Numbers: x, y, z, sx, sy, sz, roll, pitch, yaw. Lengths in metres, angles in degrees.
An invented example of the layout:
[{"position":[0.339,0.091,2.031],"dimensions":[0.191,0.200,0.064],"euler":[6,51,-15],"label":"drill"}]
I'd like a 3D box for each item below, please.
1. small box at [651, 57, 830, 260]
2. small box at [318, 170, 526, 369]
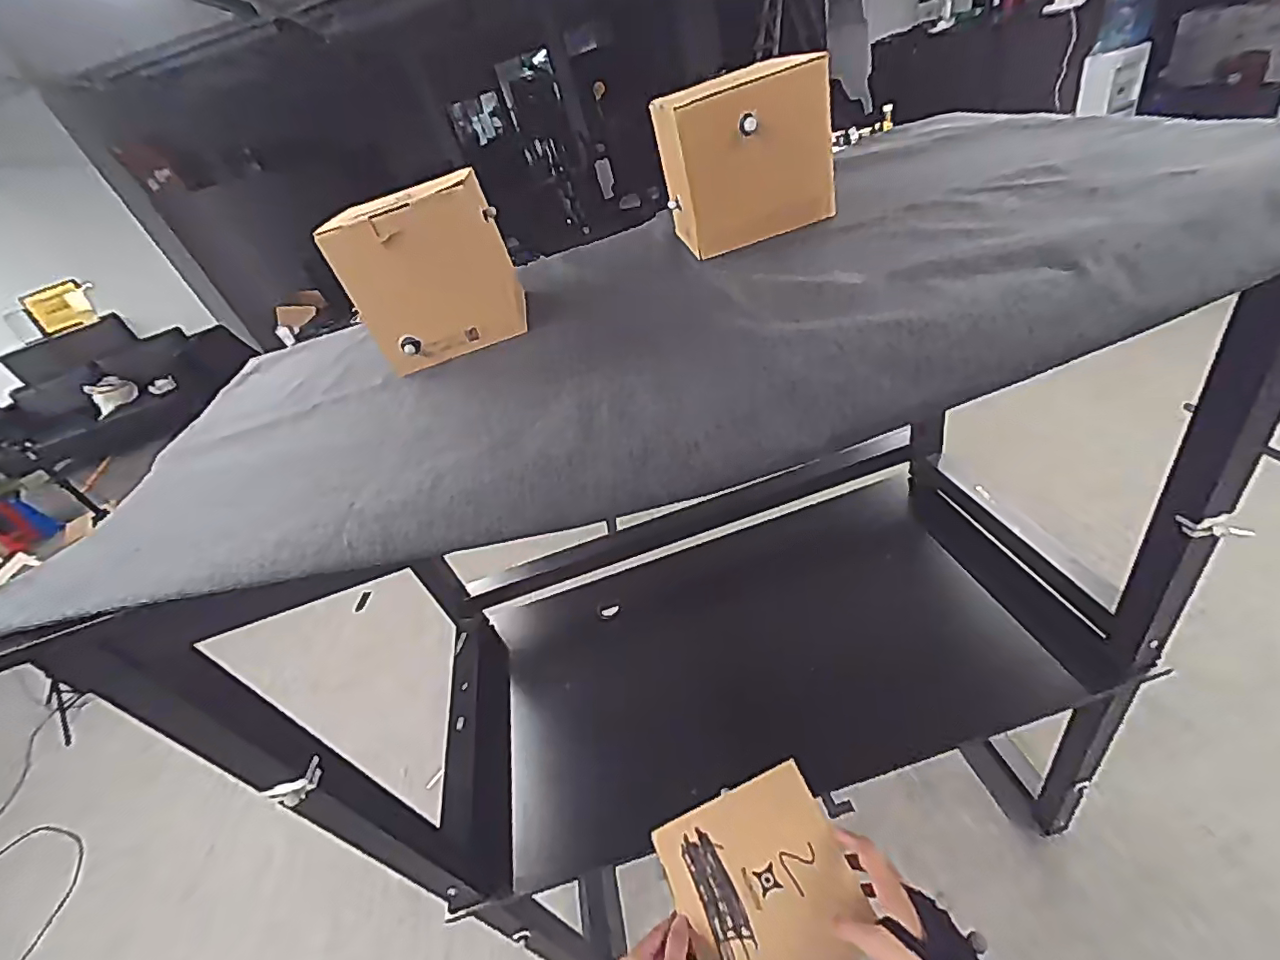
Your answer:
[{"position":[0.128,-0.405,0.686],"dimensions":[0.179,0.176,0.168],"euler":[-18,36,3],"label":"small box"},{"position":[-0.248,-0.256,0.666],"dimensions":[0.168,0.176,0.179],"euler":[-19,35,0],"label":"small box"}]
